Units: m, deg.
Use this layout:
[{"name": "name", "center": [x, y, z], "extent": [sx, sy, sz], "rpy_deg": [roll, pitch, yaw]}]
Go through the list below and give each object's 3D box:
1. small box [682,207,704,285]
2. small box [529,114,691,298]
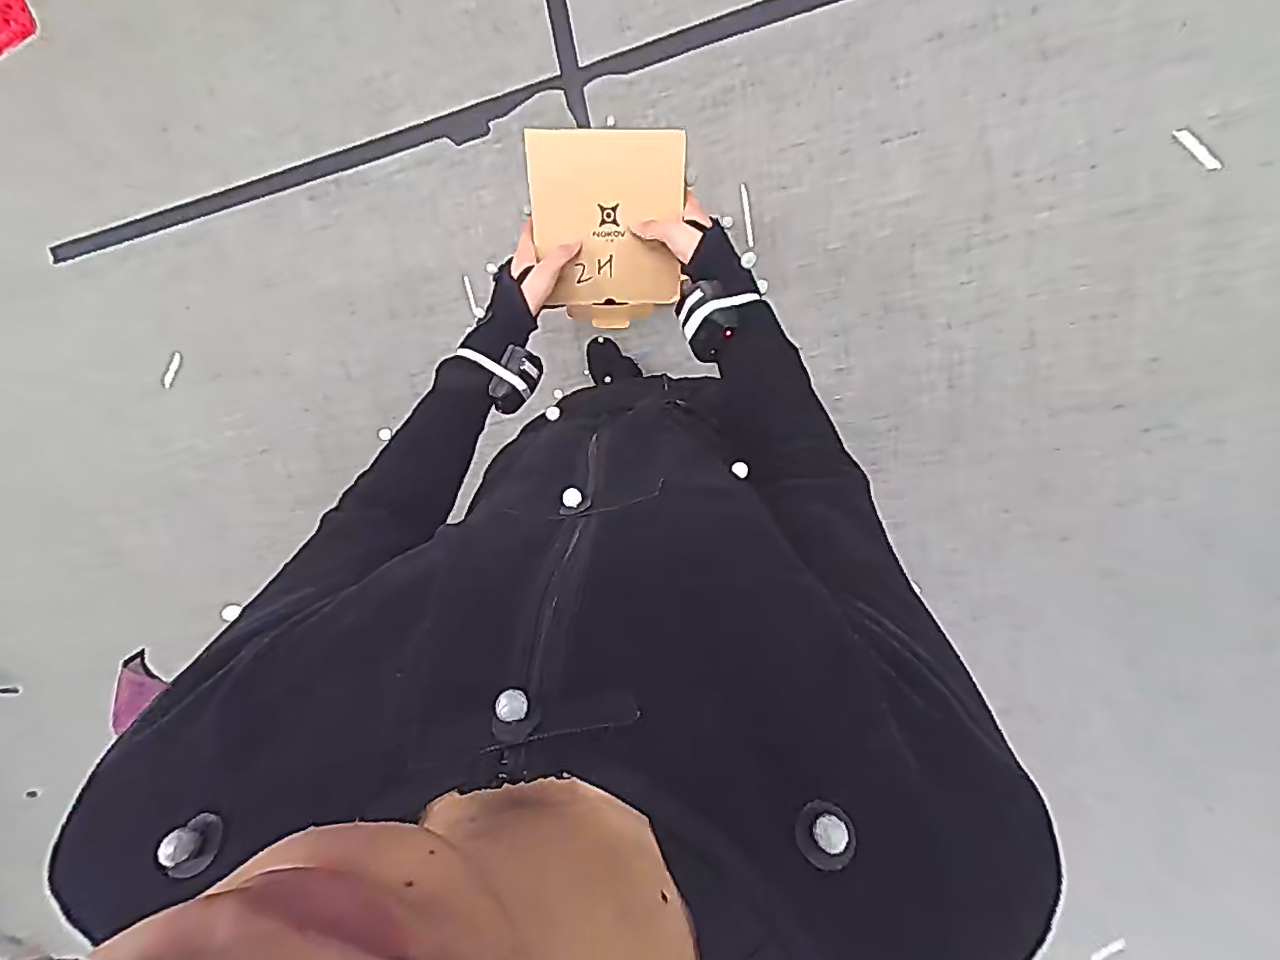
[{"name": "small box", "center": [0.065, -0.582, 1.378], "extent": [0.168, 0.176, 0.179], "rpy_deg": [-13, 105, 12]}, {"name": "small box", "center": [-0.036, -0.326, 0.645], "extent": [0.168, 0.176, 0.179], "rpy_deg": [-1, 122, -2]}]
